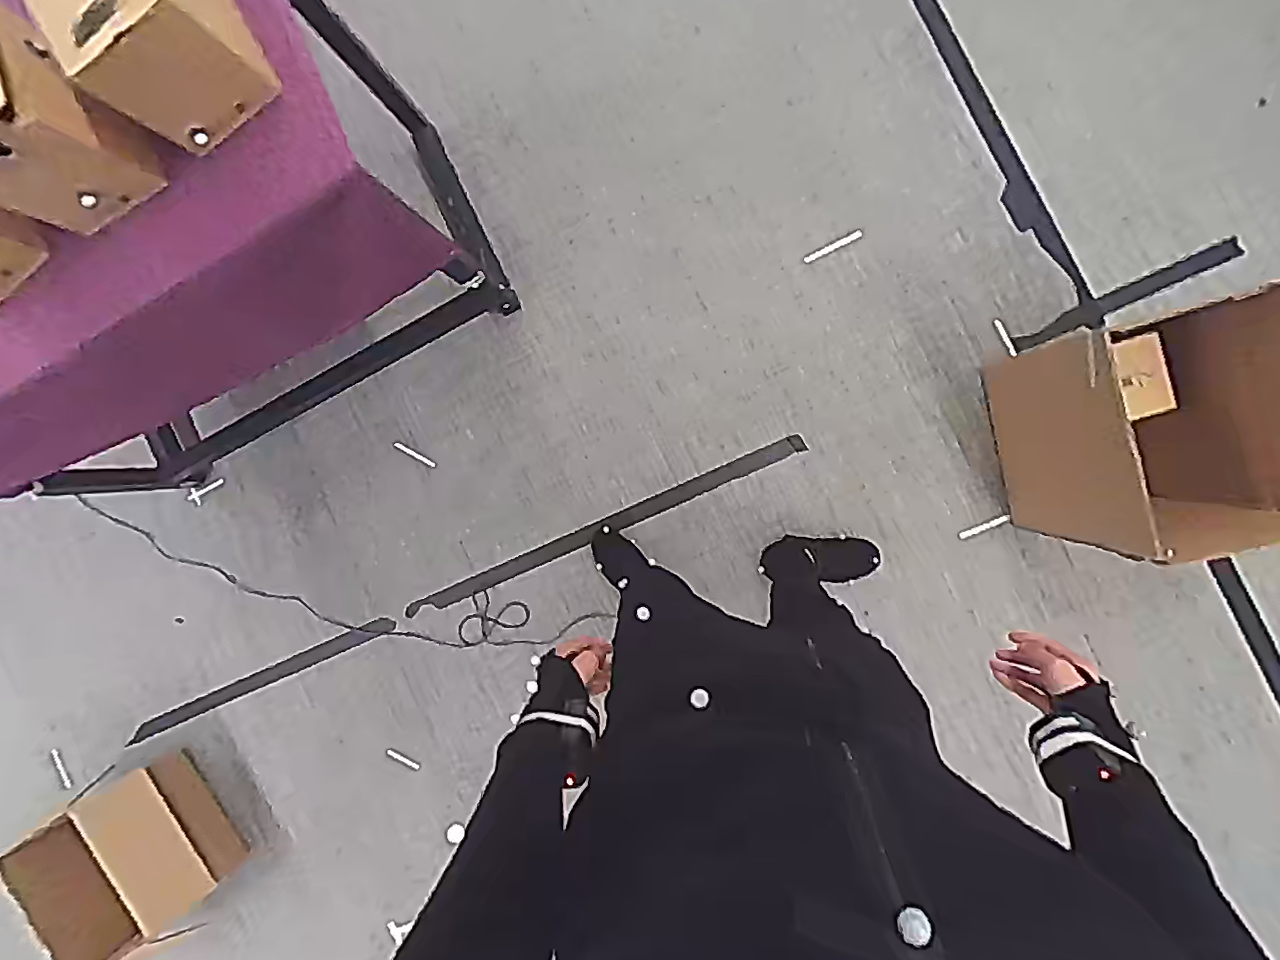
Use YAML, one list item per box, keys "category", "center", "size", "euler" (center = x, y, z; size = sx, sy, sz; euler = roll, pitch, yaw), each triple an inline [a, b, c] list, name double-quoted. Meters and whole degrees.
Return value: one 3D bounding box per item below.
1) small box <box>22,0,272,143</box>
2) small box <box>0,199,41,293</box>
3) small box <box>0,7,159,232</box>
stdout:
- category: "small box"
  center: [-0.640, -0.588, 0.712]
  size: [0.168, 0.176, 0.179]
  euler: [-30, 87, 8]
- category: "small box"
  center: [-1.049, -0.373, 0.780]
  size: [0.168, 0.176, 0.179]
  euler: [-34, 87, 7]
- category: "small box"
  center: [-0.831, -0.483, 0.743]
  size: [0.168, 0.176, 0.179]
  euler: [-24, 89, 9]
